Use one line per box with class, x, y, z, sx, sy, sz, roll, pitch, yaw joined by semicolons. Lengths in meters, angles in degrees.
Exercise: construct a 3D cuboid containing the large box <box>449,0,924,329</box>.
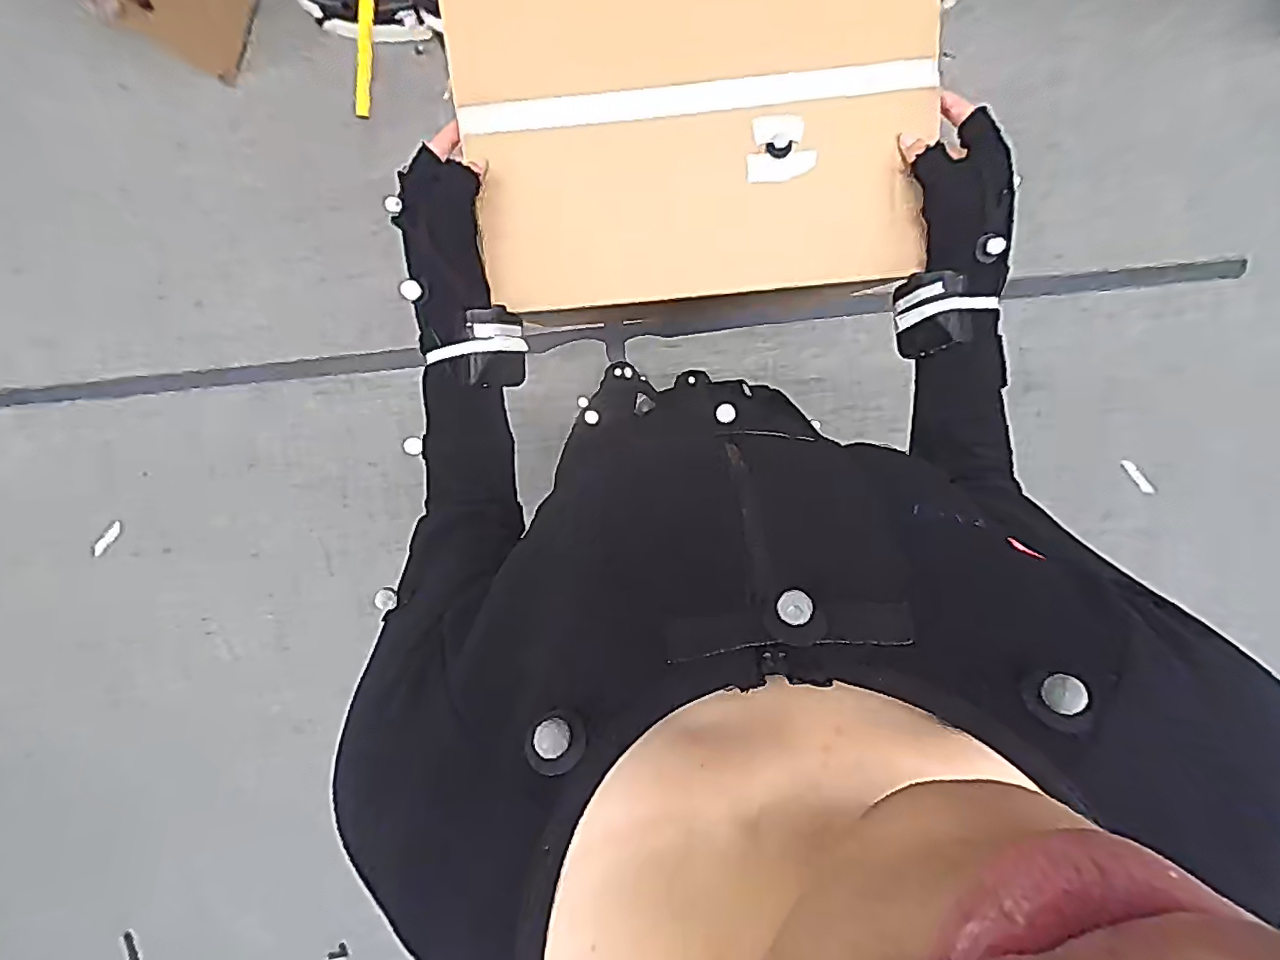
large box;0.043;-0.357;0.616;0.408;0.320;0.320;-5;103;0
